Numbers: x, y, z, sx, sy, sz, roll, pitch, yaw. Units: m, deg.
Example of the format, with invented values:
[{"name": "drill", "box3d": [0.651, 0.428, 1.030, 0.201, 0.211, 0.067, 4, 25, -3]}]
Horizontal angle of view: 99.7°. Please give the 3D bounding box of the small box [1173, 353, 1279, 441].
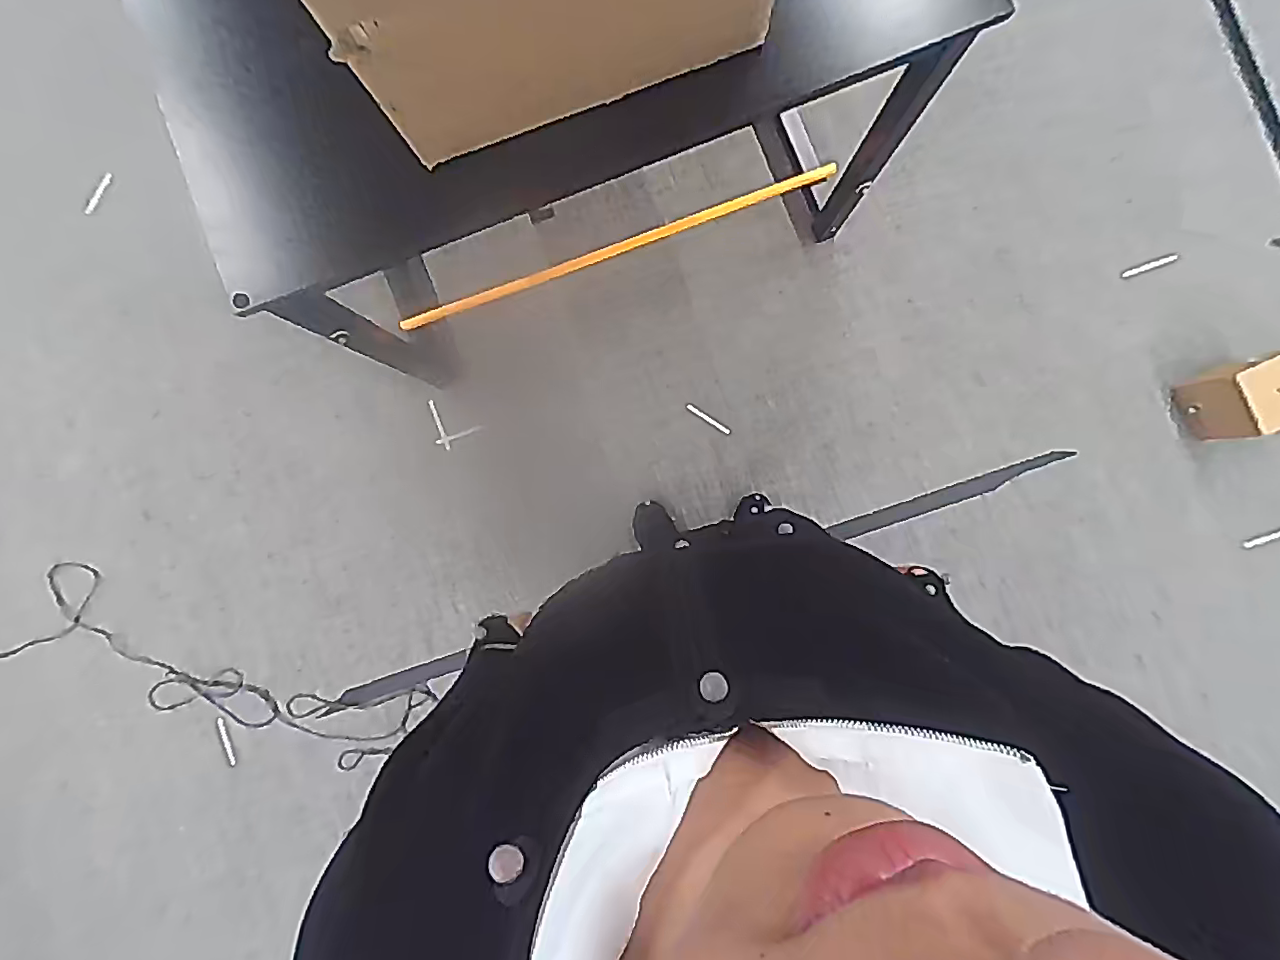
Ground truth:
[{"name": "small box", "box3d": [1.549, -0.211, 1.382, 0.179, 0.176, 0.168, -25, 88, 2]}]
